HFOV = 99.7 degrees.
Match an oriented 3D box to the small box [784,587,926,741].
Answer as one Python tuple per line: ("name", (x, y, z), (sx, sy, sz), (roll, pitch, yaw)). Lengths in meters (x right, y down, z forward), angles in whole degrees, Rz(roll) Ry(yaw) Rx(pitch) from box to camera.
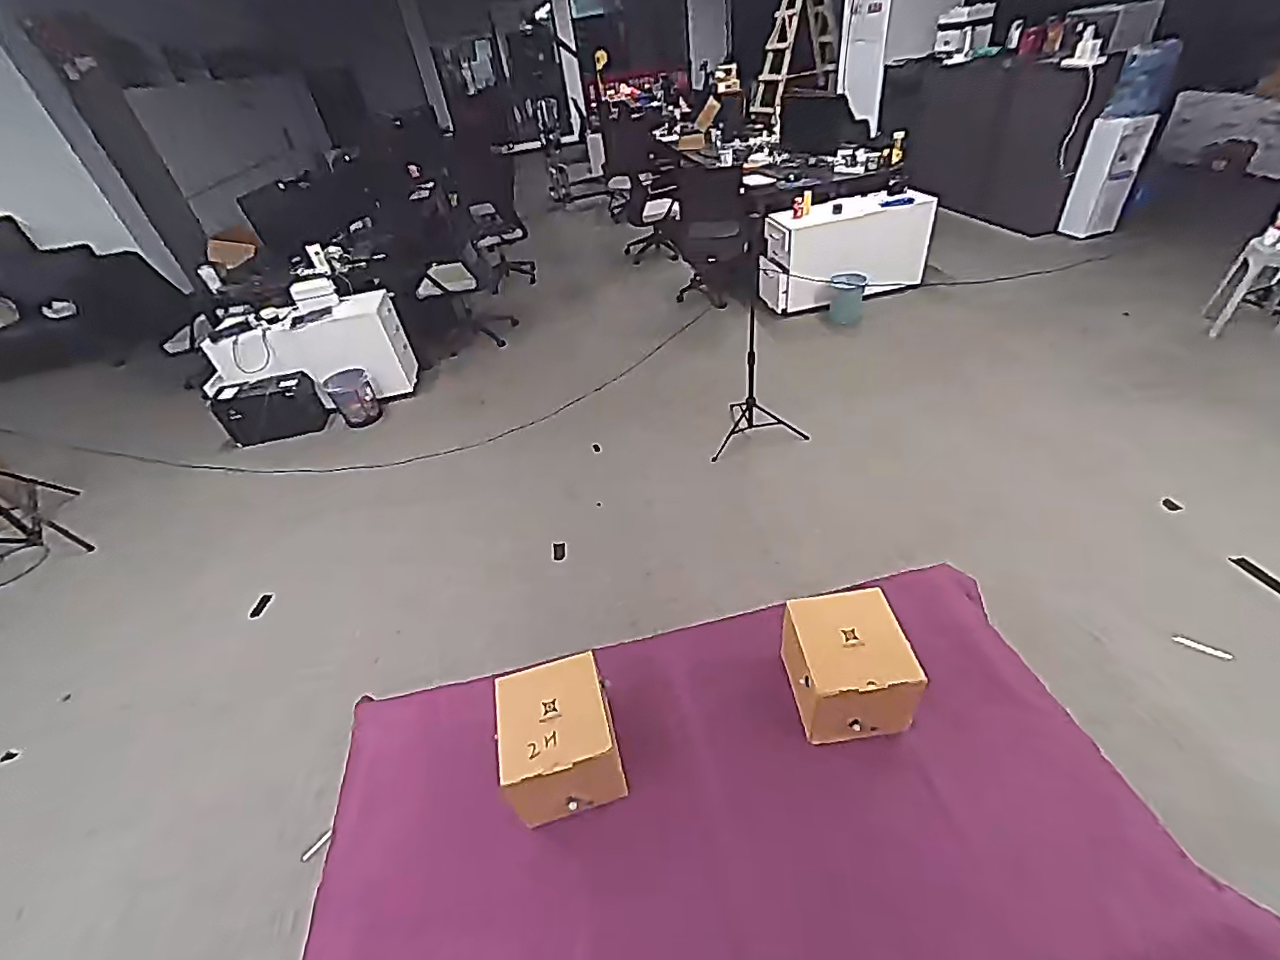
("small box", (0.347, 0.310, 0.915), (0.168, 0.176, 0.179), (-9, 40, 1))

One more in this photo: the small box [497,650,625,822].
("small box", (-0.128, 0.415, 0.881), (0.168, 0.176, 0.179), (-15, 40, -6))
